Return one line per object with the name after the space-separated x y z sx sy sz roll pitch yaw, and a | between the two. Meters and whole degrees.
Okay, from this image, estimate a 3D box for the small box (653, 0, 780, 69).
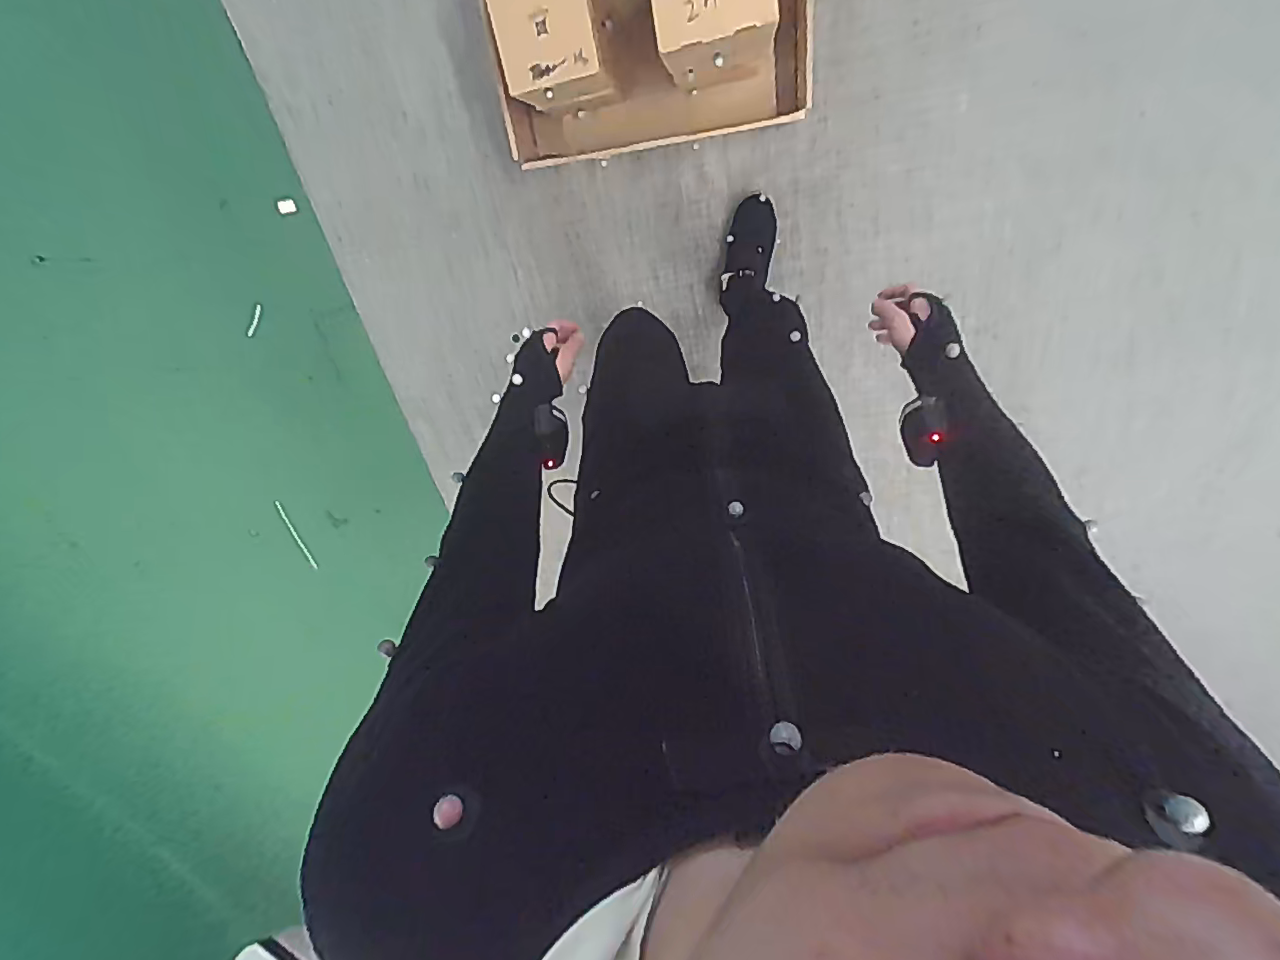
0.101 -0.715 0.757 0.168 0.176 0.179 -6 118 13 | small box

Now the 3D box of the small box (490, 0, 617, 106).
-0.147 -0.785 0.947 0.168 0.176 0.179 -5 117 13 | small box
